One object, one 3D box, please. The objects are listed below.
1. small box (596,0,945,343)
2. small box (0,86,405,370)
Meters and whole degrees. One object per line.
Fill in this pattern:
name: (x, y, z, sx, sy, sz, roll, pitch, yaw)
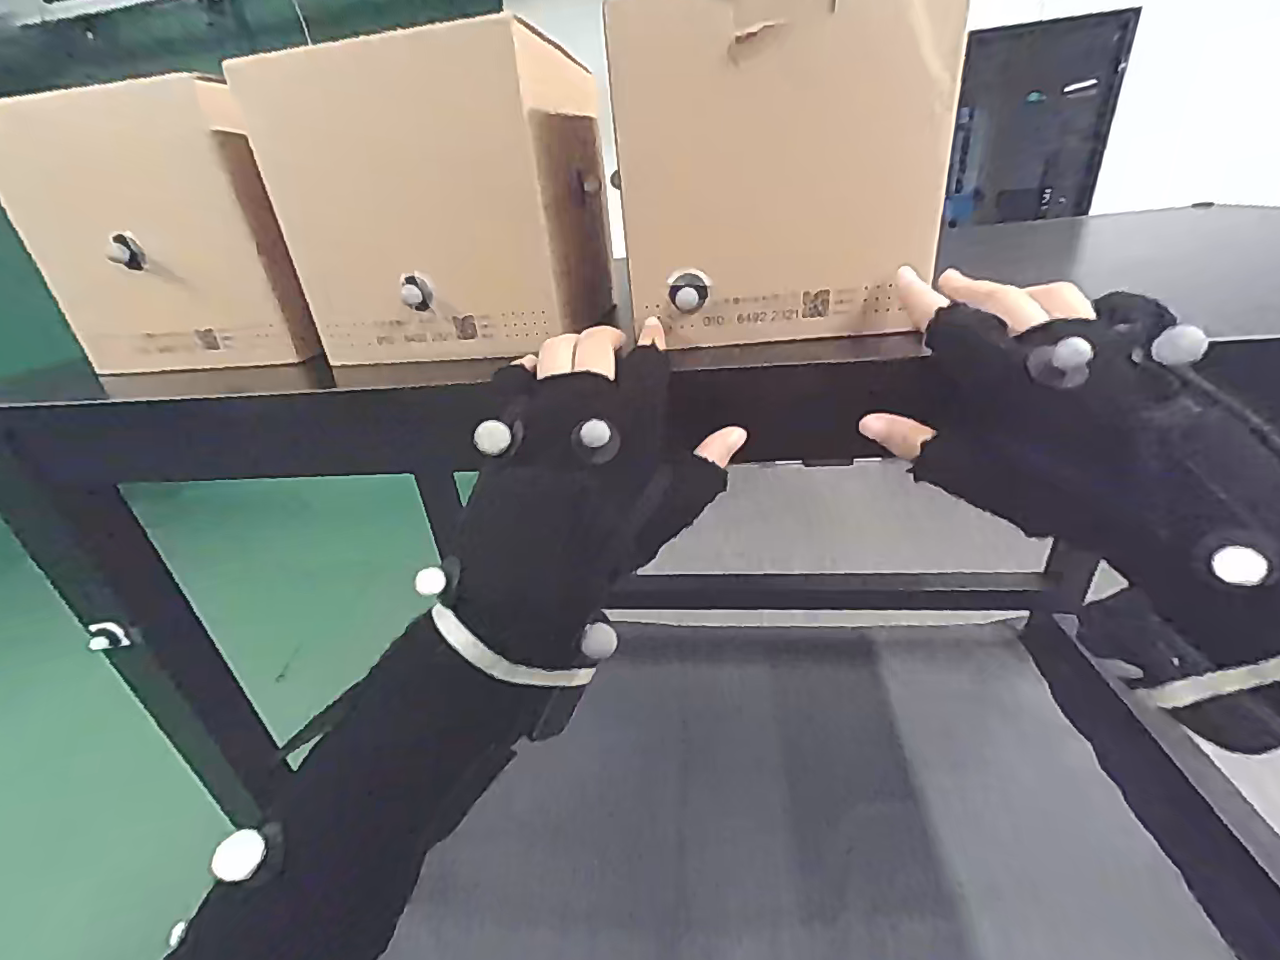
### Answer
small box: (0.075, -0.189, 0.354, 0.168, 0.176, 0.179, -3, 26, 7)
small box: (-0.316, -0.188, 0.430, 0.168, 0.176, 0.179, -1, 27, 8)
